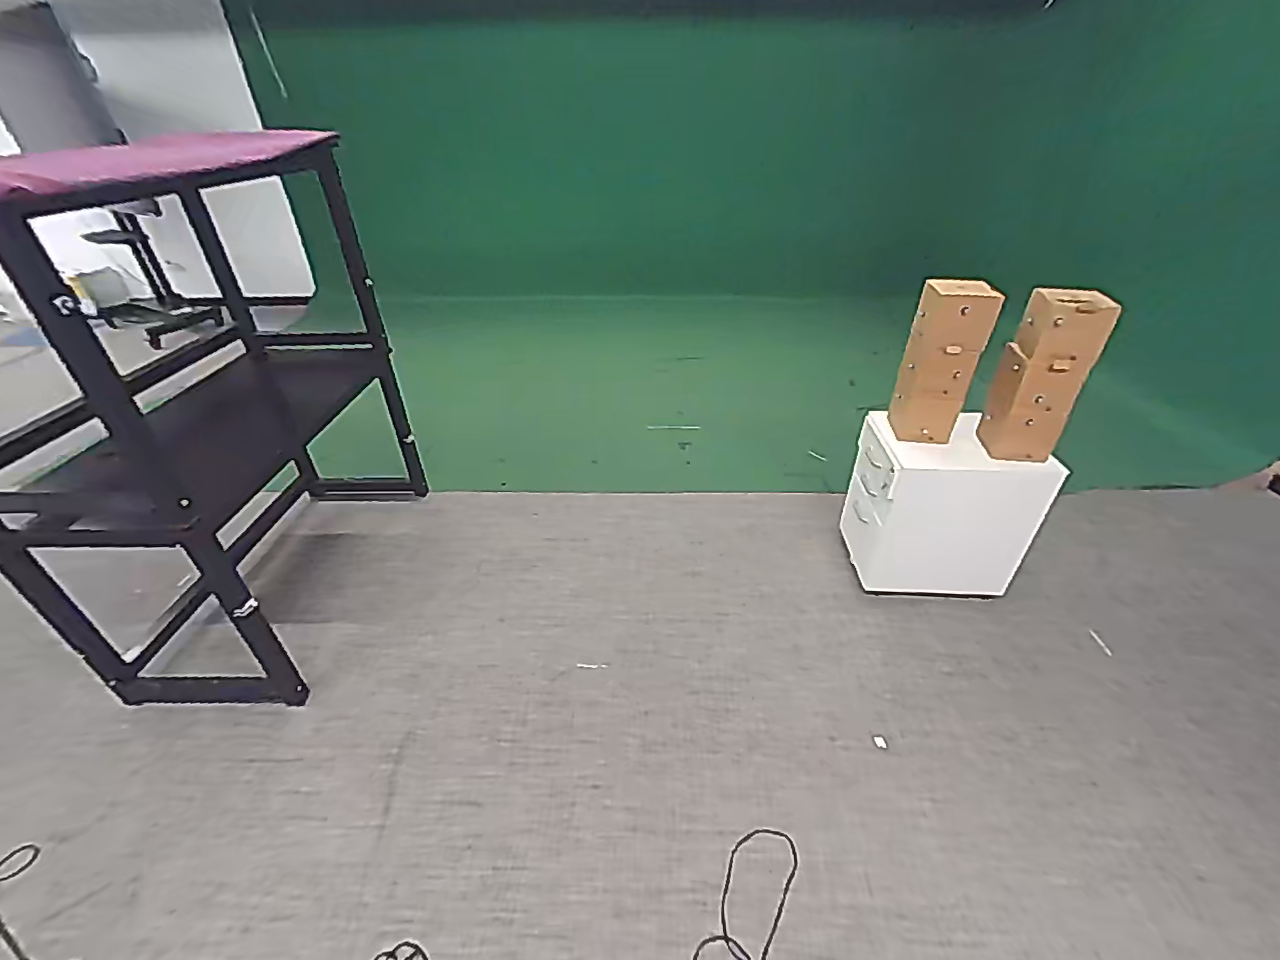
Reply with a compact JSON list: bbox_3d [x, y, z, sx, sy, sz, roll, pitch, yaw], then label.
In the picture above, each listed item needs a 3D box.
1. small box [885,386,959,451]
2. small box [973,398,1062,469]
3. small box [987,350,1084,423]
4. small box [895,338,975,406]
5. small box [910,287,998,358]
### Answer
[{"bbox_3d":[0.967,-0.220,1.871,0.168,0.176,0.179,5,36,7],"label":"small box"},{"bbox_3d":[1.224,-0.154,1.772,0.168,0.176,0.179,5,34,9],"label":"small box"},{"bbox_3d":[1.220,-0.292,1.686,0.168,0.176,0.179,5,35,8],"label":"small box"},{"bbox_3d":[0.964,-0.356,1.783,0.168,0.176,0.179,6,34,6],"label":"small box"},{"bbox_3d":[0.968,-0.492,1.690,0.179,0.176,0.168,6,36,5],"label":"small box"}]
